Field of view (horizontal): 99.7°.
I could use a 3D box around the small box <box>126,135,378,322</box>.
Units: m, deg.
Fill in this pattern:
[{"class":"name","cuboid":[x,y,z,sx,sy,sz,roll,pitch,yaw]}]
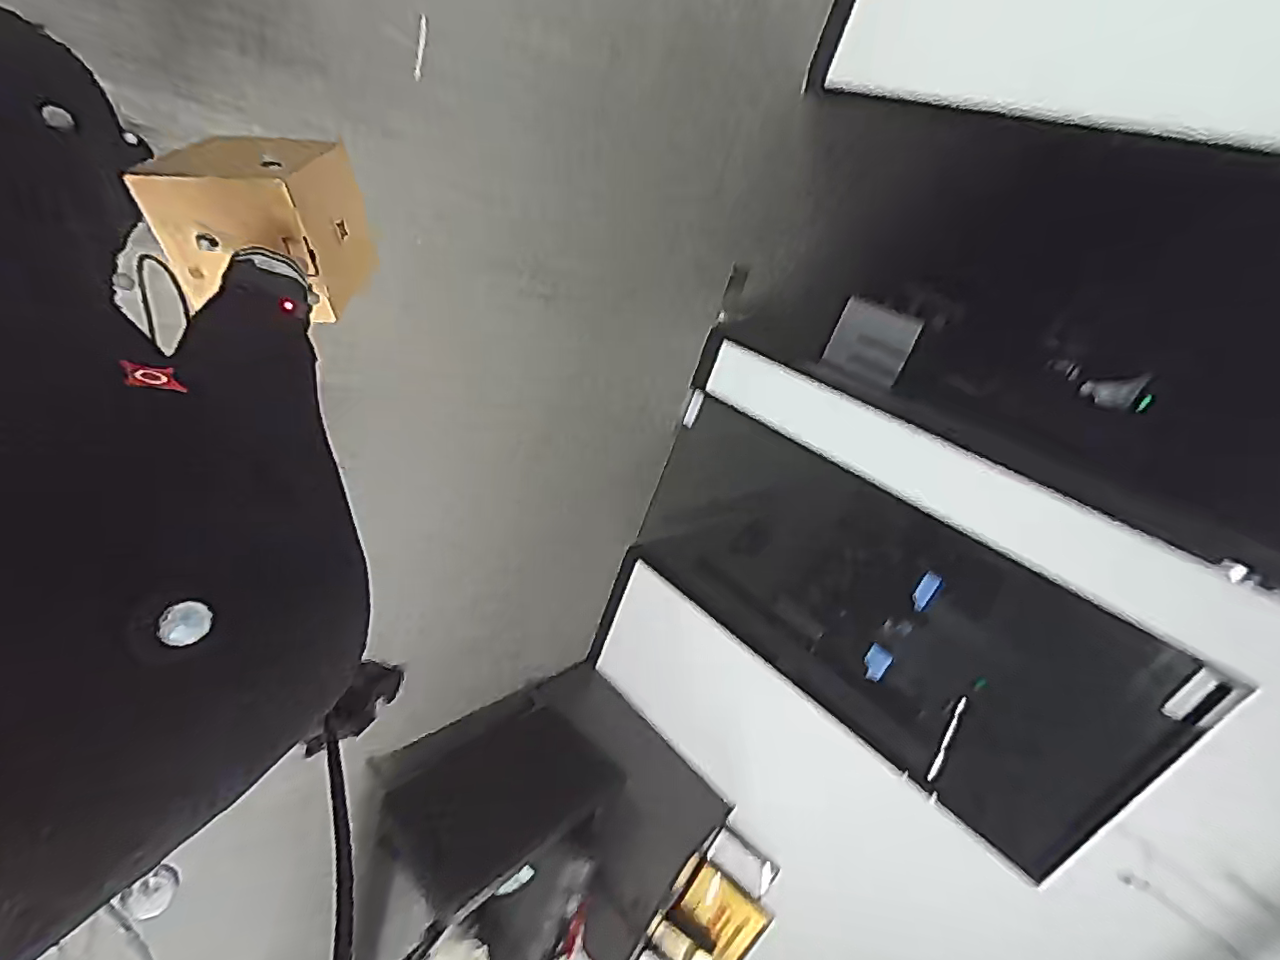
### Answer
[{"class":"small box","cuboid":[-0.453,-0.310,0.663,0.176,0.179,0.168,0,133,-2]}]
